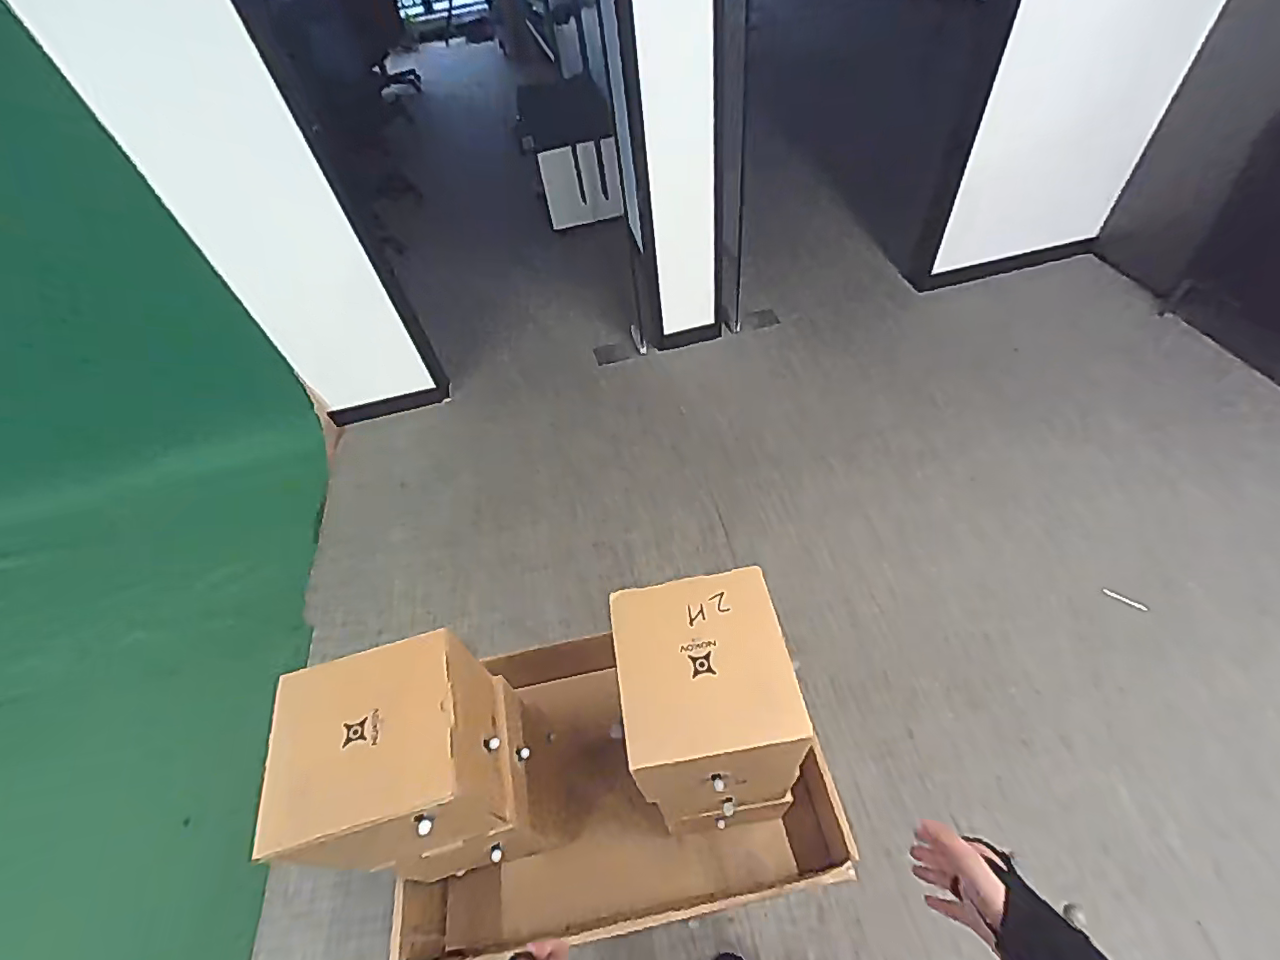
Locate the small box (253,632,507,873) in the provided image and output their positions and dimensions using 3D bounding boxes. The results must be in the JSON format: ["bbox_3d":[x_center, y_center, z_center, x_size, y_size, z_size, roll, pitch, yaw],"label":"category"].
[{"bbox_3d":[-0.257,0.292,0.574,0.179,0.176,0.168,-15,51,-6],"label":"small box"}]

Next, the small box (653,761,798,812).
[{"bbox_3d":[0.094,0.320,0.707,0.168,0.176,0.179,-10,52,0],"label":"small box"}]

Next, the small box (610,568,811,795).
[{"bbox_3d":[0.068,0.221,0.577,0.168,0.176,0.179,-10,51,0],"label":"small box"}]

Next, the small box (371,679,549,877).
[{"bbox_3d":[-0.224,0.389,0.701,0.168,0.176,0.179,-15,51,-4],"label":"small box"}]
